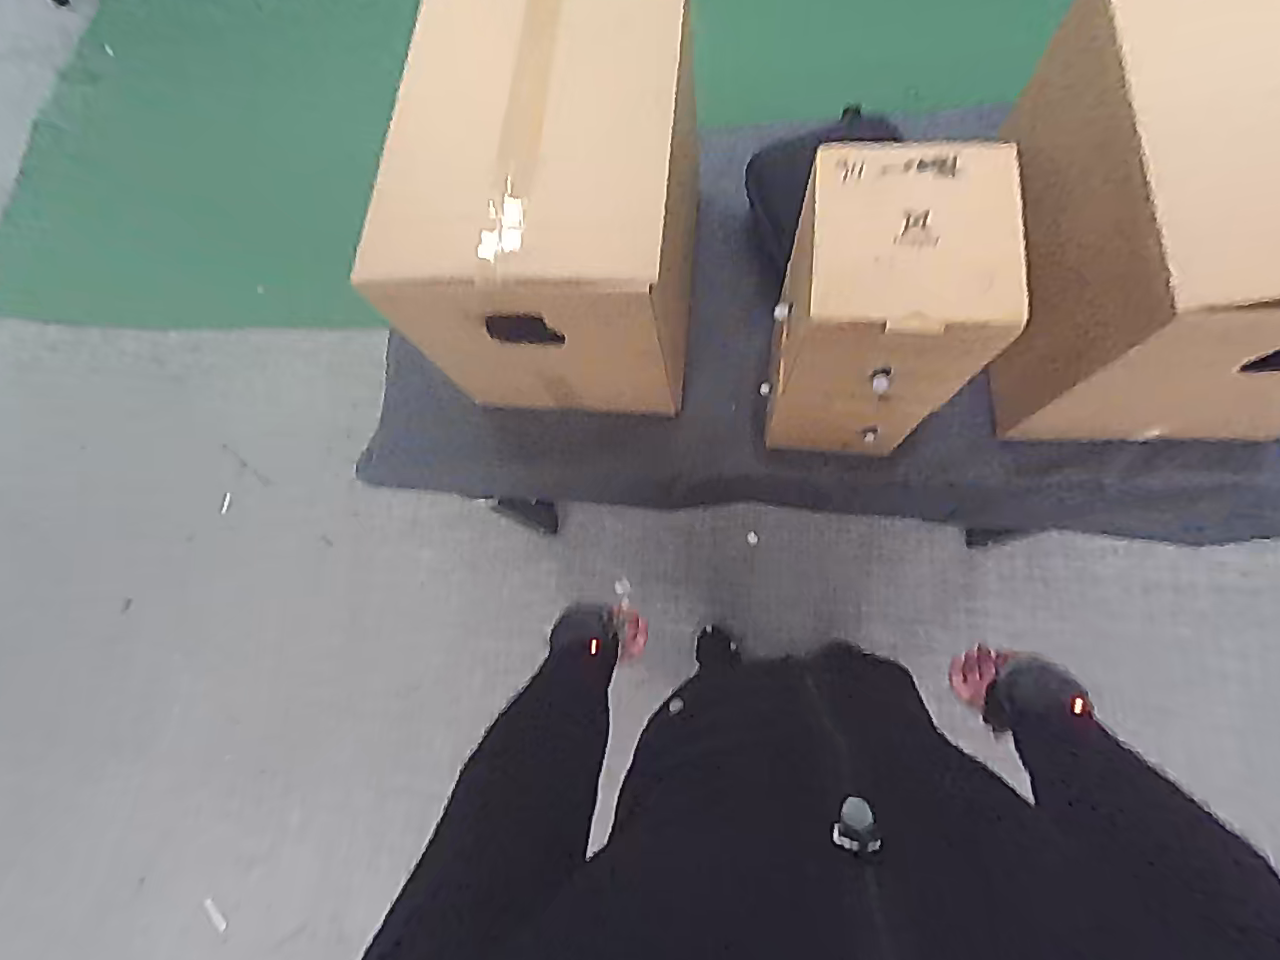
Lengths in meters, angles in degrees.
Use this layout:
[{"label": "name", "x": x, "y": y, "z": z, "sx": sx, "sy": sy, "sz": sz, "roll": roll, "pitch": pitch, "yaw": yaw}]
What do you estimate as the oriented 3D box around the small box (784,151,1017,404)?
[{"label": "small box", "x": 0.239, "y": -0.186, "z": 0.535, "sx": 0.168, "sy": 0.176, "sz": 0.179, "roll": 4, "pitch": 77, "yaw": 8}]
